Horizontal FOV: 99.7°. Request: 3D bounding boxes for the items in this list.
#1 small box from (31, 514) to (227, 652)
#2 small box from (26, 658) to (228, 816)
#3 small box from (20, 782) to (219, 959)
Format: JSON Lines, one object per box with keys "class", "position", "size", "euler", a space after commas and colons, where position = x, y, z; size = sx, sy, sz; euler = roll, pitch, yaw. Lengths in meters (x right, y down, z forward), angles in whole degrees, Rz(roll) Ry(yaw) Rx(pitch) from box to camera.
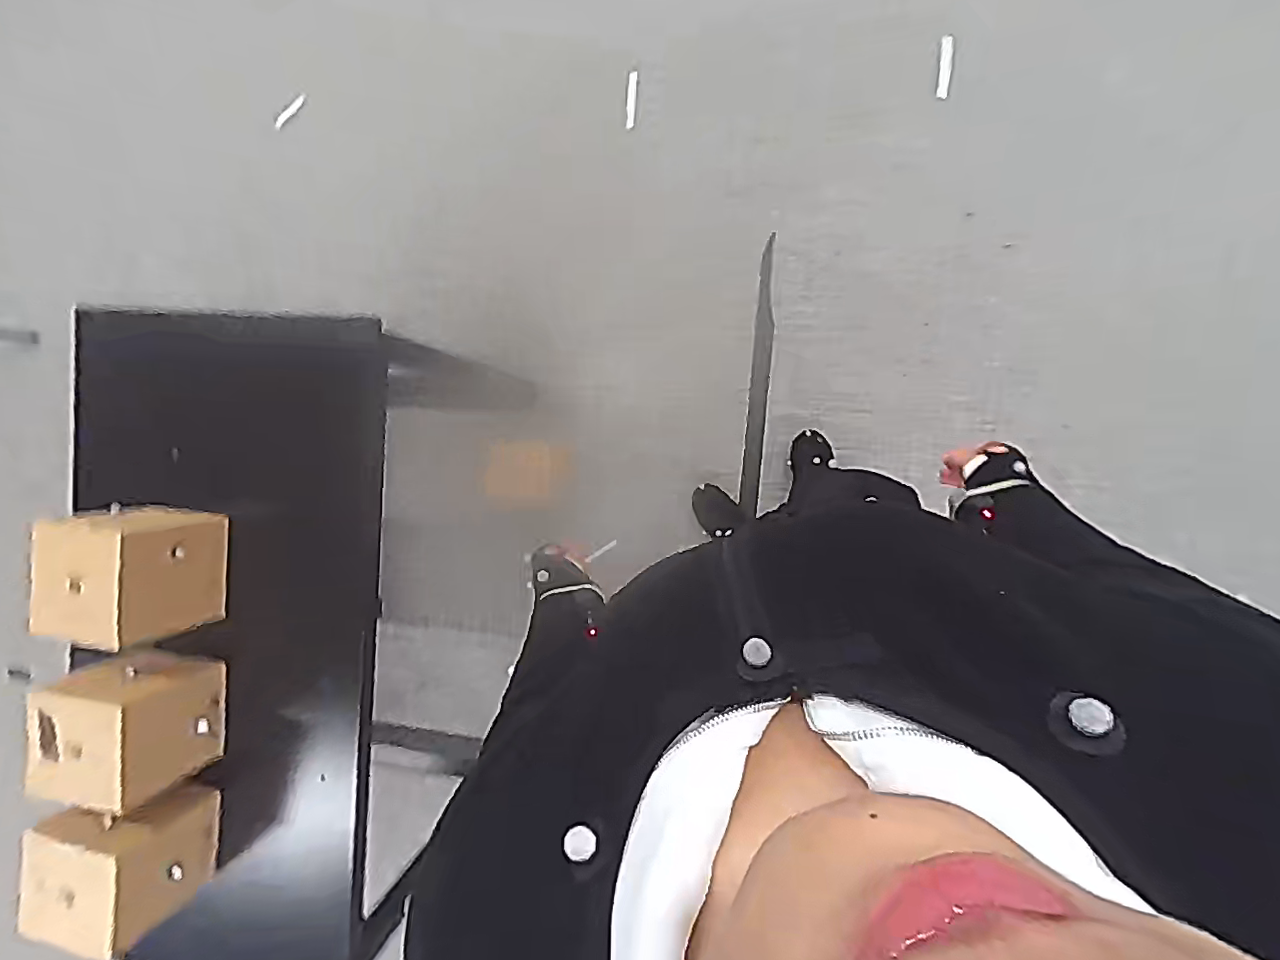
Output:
{"class": "small box", "position": [-0.803, 0.152, 0.865], "size": [0.168, 0.176, 0.179], "euler": [4, 94, 11]}
{"class": "small box", "position": [-0.818, 0.401, 0.874], "size": [0.179, 0.176, 0.168], "euler": [3, 92, 9]}
{"class": "small box", "position": [-0.839, 0.624, 0.886], "size": [0.179, 0.176, 0.168], "euler": [7, 93, 10]}
